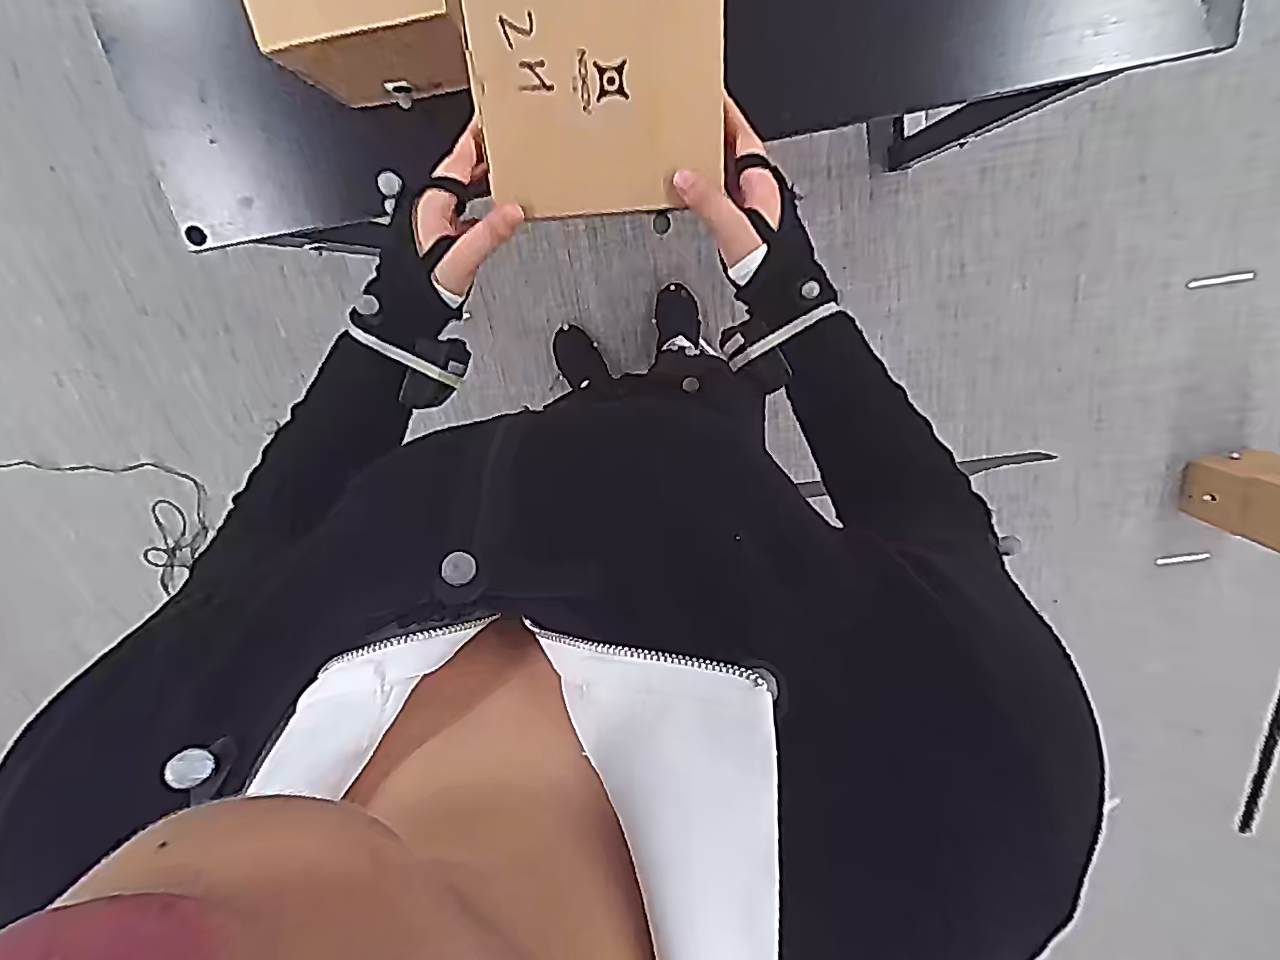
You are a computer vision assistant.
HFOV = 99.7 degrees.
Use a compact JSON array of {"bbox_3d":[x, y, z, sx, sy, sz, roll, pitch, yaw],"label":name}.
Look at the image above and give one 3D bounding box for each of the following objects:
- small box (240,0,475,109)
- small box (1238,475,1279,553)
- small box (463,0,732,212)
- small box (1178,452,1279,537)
[{"bbox_3d":[-0.250,-0.474,0.490,0.168,0.176,0.179,-9,110,4],"label":"small box"},{"bbox_3d":[1.618,0.086,1.302,0.168,0.176,0.179,-11,110,4],"label":"small box"},{"bbox_3d":[-0.030,-0.311,0.434,0.179,0.176,0.168,-4,116,-1],"label":"small box"},{"bbox_3d":[1.621,0.035,1.460,0.179,0.176,0.168,-11,110,4],"label":"small box"}]
